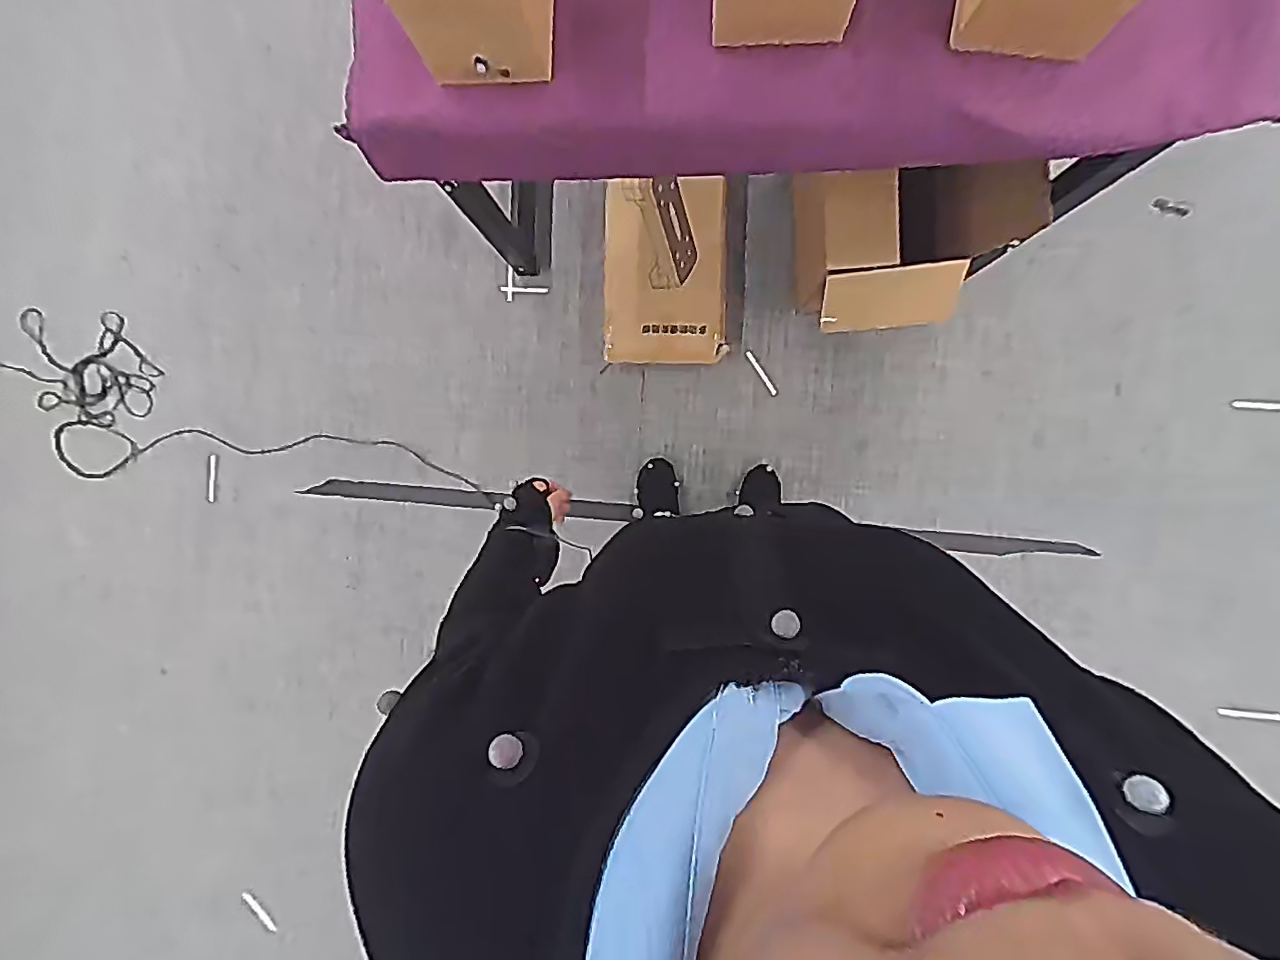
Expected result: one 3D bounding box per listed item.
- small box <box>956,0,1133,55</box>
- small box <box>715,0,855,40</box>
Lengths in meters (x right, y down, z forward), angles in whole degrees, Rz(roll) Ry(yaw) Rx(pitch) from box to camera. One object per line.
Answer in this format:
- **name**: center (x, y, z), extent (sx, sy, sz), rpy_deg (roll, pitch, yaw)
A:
- **small box**: center (0.502, -0.641, 0.628), extent (0.179, 0.176, 0.168), rpy_deg (9, 93, 4)
- **small box**: center (0.186, -0.674, 0.649), extent (0.179, 0.176, 0.168), rpy_deg (2, 90, 4)
